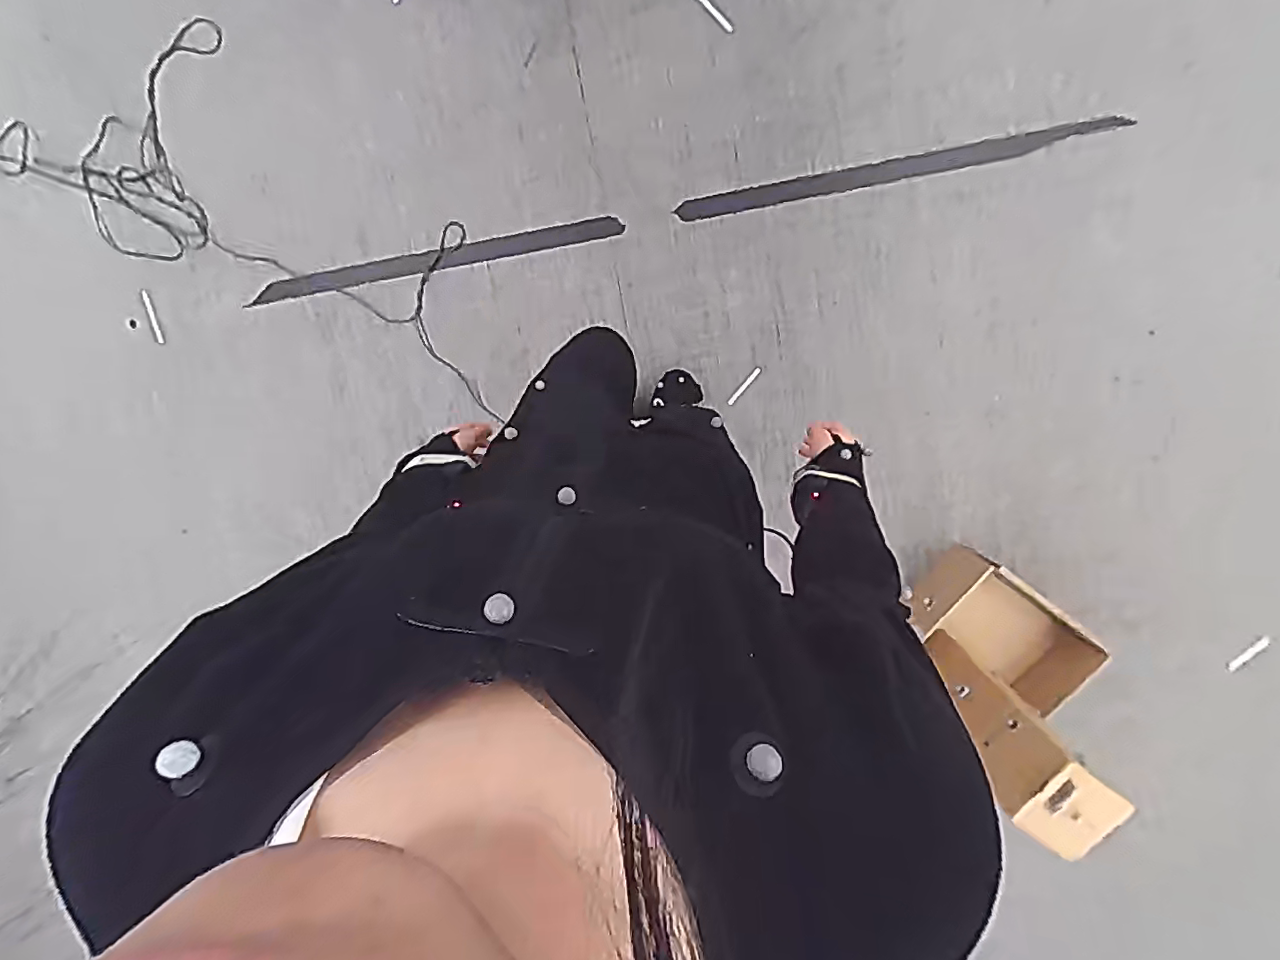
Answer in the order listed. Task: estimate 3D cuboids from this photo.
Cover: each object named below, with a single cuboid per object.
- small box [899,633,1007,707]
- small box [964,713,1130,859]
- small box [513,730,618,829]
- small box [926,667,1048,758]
[{"bbox_3d":[0.835,0.542,1.435,0.179,0.176,0.168,39,101,-6],"label":"small box"},{"bbox_3d":[0.824,0.618,1.118,0.179,0.176,0.168,36,102,-7],"label":"small box"},{"bbox_3d":[-0.165,0.733,1.268,0.168,0.176,0.179,41,102,-6],"label":"small box"},{"bbox_3d":[0.827,0.580,1.278,0.179,0.176,0.168,38,101,-5],"label":"small box"}]
